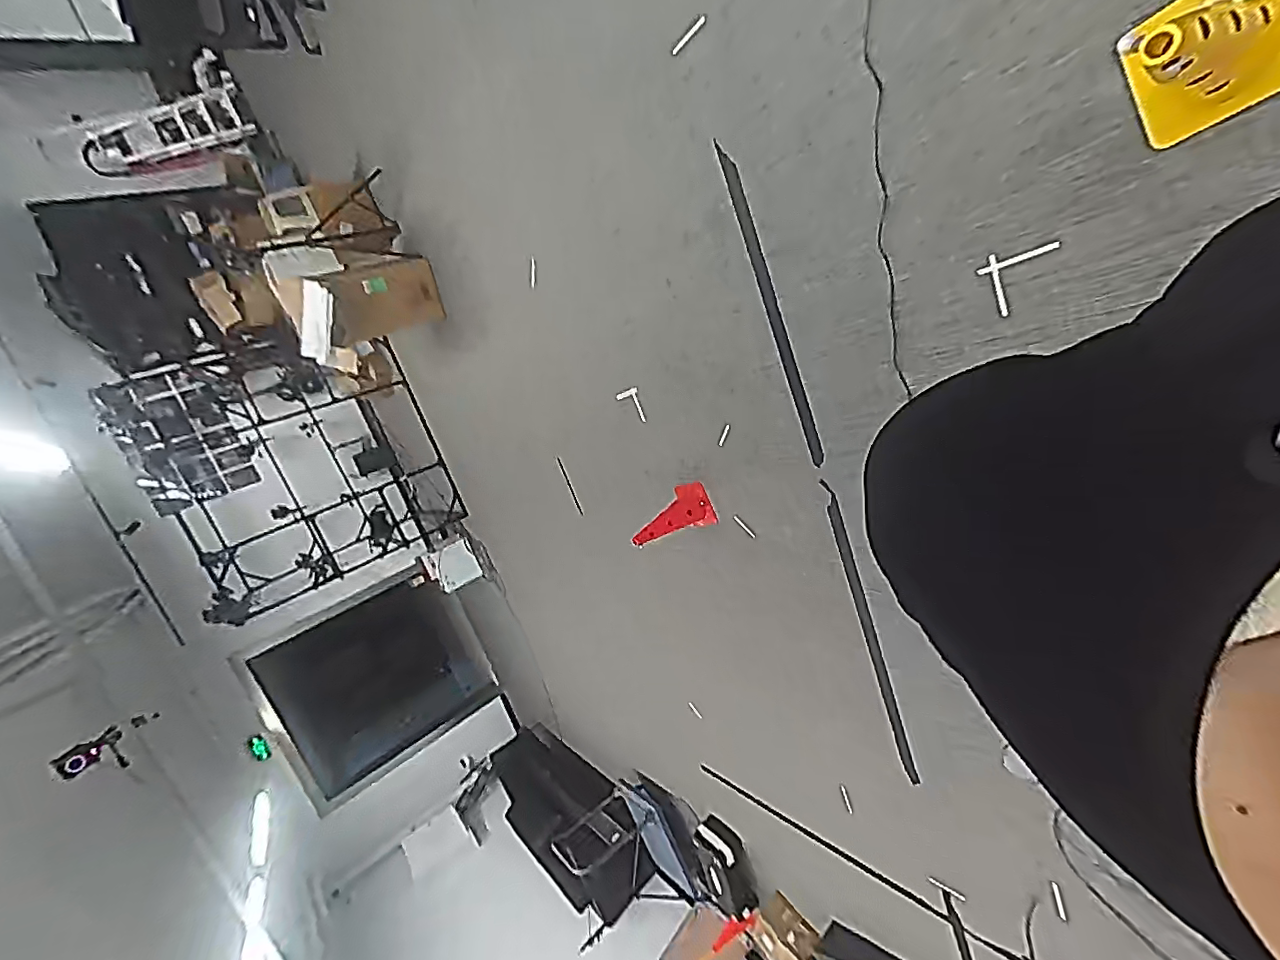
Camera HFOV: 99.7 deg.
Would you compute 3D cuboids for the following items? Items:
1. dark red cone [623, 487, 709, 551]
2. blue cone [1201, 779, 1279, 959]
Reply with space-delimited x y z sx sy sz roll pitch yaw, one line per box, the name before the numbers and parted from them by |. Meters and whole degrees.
dark red cone | 0.089 0.195 2.262 0.201 0.394 0.202 -18 99 57
blue cone | 1.253 0.822 1.099 0.192 0.380 0.193 -3 111 55
